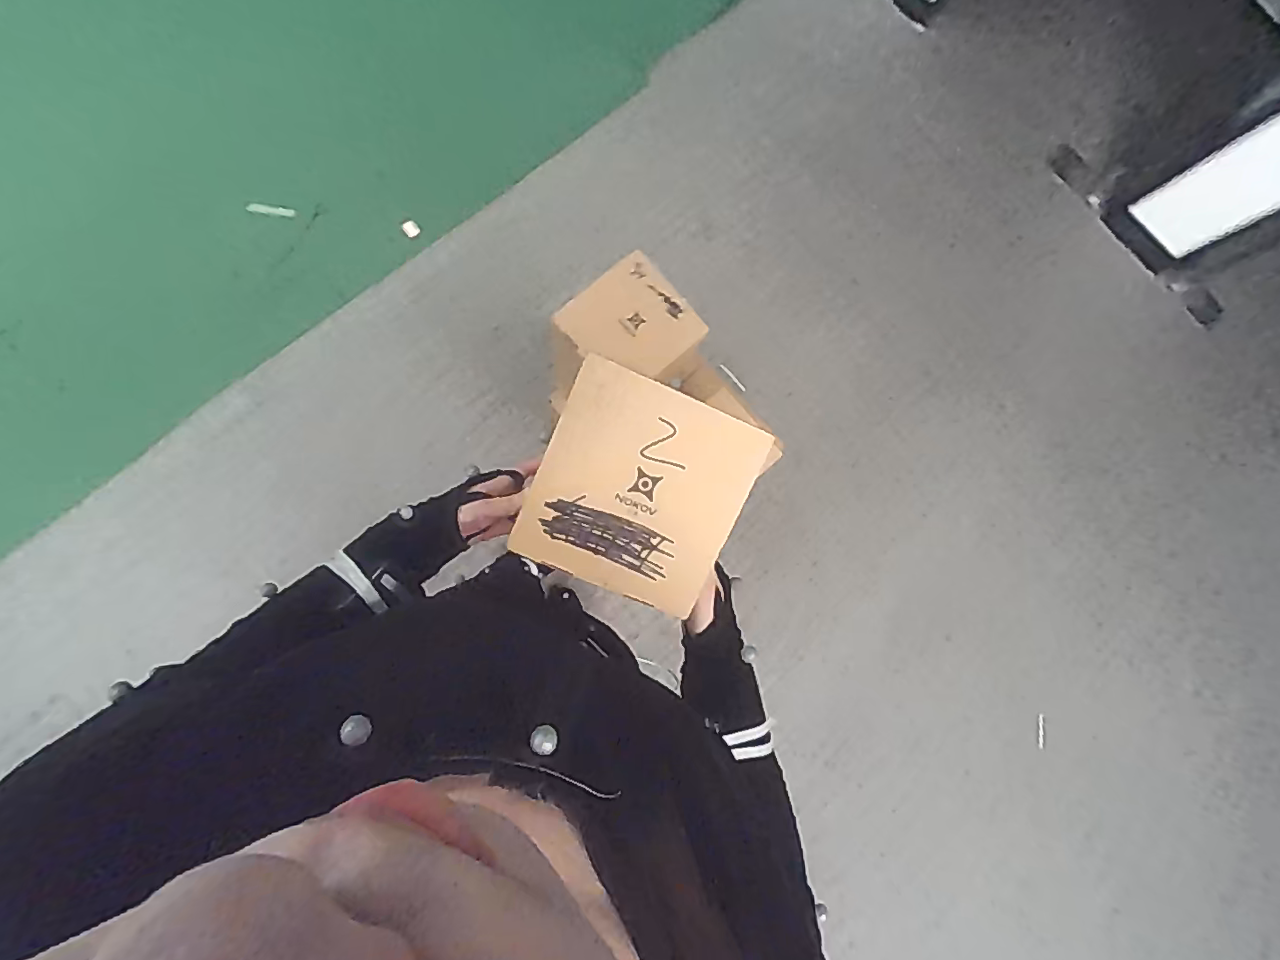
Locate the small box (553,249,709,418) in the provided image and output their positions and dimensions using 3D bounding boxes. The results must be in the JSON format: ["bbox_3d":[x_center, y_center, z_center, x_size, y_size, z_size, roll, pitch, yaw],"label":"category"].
[{"bbox_3d":[-0.019,-0.222,0.873,0.179,0.176,0.168,-41,91,-8],"label":"small box"}]

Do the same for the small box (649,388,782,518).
[{"bbox_3d":[0.131,-0.041,1.035,0.179,0.176,0.168,-39,88,-11],"label":"small box"}]
